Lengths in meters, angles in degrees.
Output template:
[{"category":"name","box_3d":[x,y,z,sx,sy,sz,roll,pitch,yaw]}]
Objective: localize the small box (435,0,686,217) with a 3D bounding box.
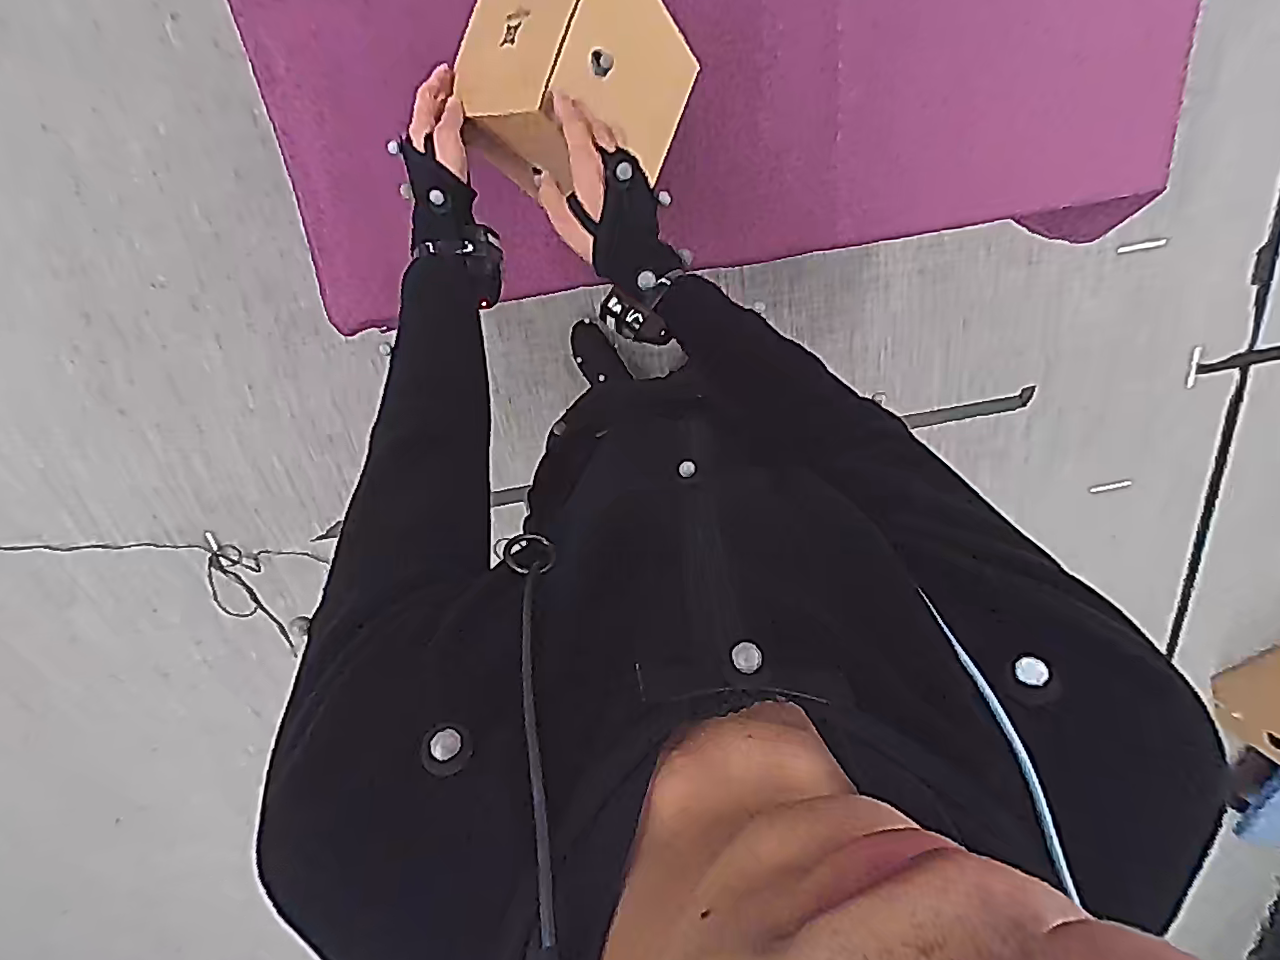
[{"category":"small box","box_3d":[-0.076,-0.406,0.571,0.176,0.168,0.179,16,98,-55]}]

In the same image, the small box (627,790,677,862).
[{"category":"small box","box_3d":[0.045,1.361,2.142,0.168,0.176,0.179,-8,113,-4]}]
